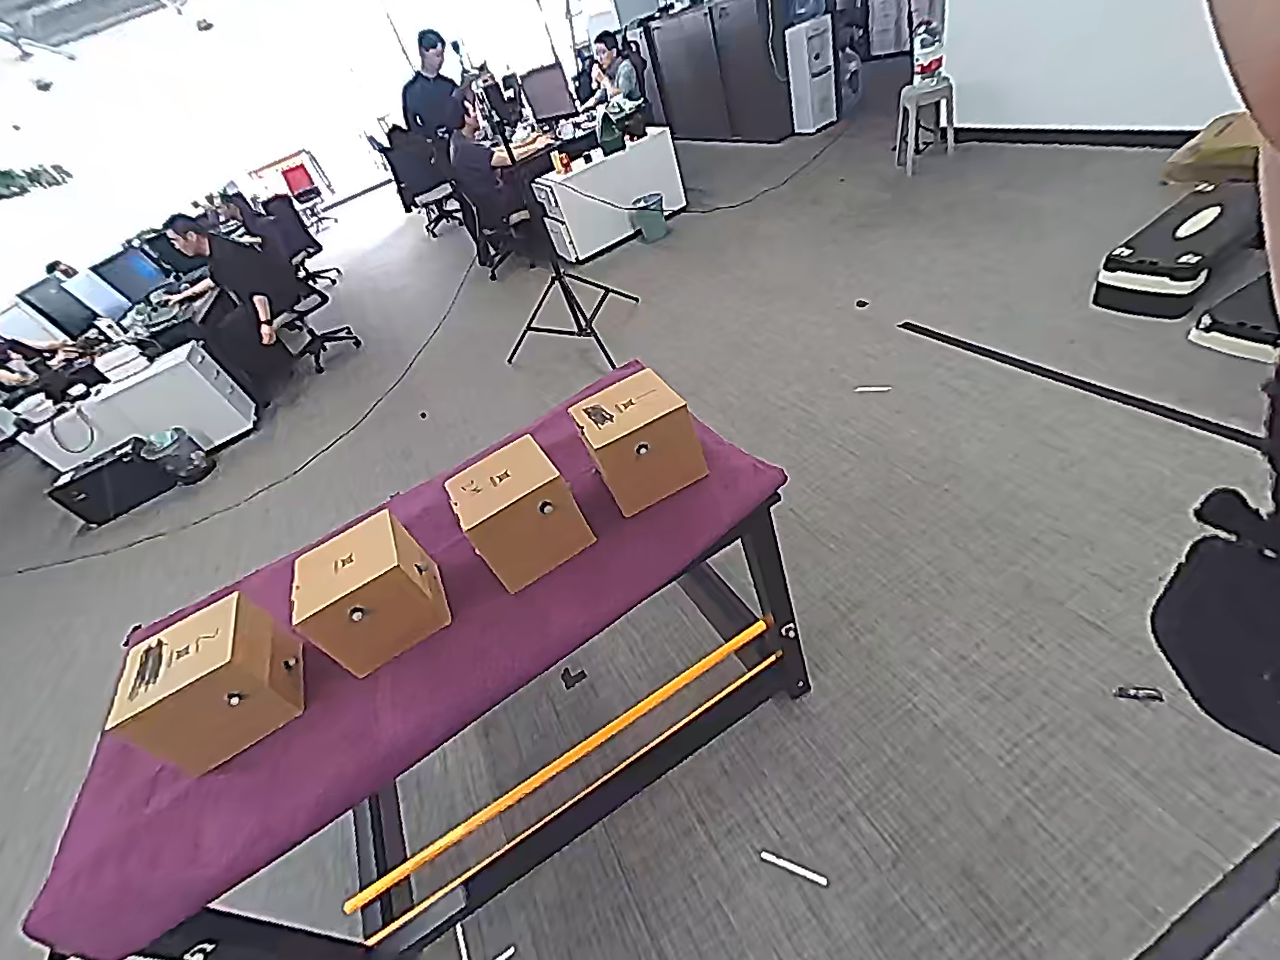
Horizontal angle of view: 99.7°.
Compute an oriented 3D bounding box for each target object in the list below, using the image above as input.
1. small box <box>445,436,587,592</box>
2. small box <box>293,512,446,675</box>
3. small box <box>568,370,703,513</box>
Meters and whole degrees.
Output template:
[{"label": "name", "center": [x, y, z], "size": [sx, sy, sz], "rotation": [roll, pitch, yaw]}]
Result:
[{"label": "small box", "center": [-0.211, 0.059, 0.956], "size": [0.179, 0.176, 0.168], "rotation": [-32, 39, -10]}, {"label": "small box", "center": [-0.453, 0.194, 0.927], "size": [0.179, 0.176, 0.168], "rotation": [-32, 41, -10]}, {"label": "small box", "center": [-0.007, -0.069, 0.999], "size": [0.179, 0.176, 0.168], "rotation": [-28, 39, -6]}]
